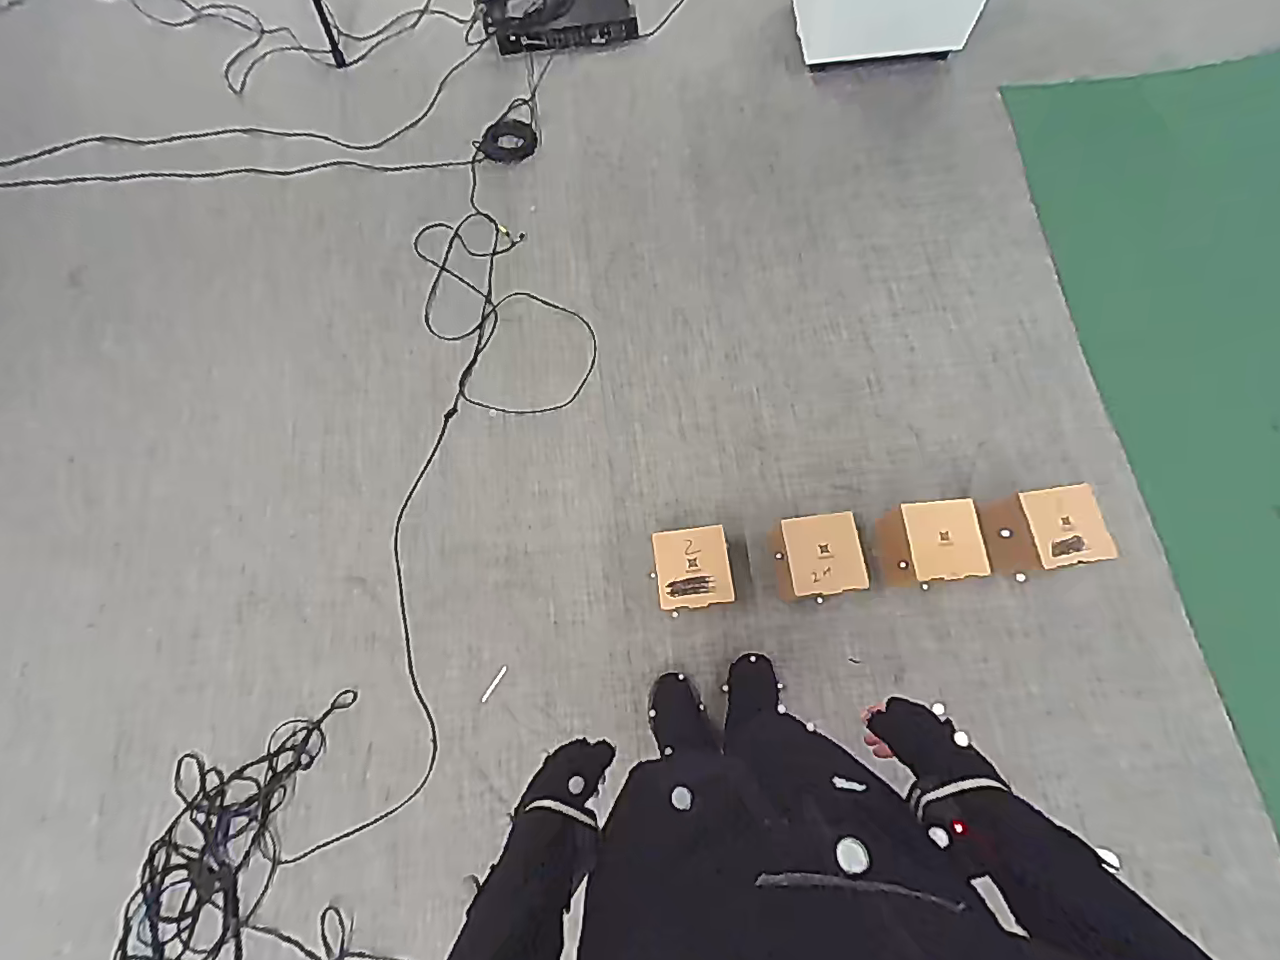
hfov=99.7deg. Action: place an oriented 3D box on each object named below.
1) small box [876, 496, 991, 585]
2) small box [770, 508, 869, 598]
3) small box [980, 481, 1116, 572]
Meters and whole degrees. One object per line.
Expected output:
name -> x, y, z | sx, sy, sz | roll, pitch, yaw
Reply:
small box -> 0.680, 0.147, 1.276 | 0.168, 0.176, 0.179 | -5, 74, 1
small box -> 0.413, 0.177, 1.276 | 0.168, 0.176, 0.179 | -7, 74, 2
small box -> 0.947, 0.117, 1.272 | 0.168, 0.176, 0.179 | -8, 73, 0
